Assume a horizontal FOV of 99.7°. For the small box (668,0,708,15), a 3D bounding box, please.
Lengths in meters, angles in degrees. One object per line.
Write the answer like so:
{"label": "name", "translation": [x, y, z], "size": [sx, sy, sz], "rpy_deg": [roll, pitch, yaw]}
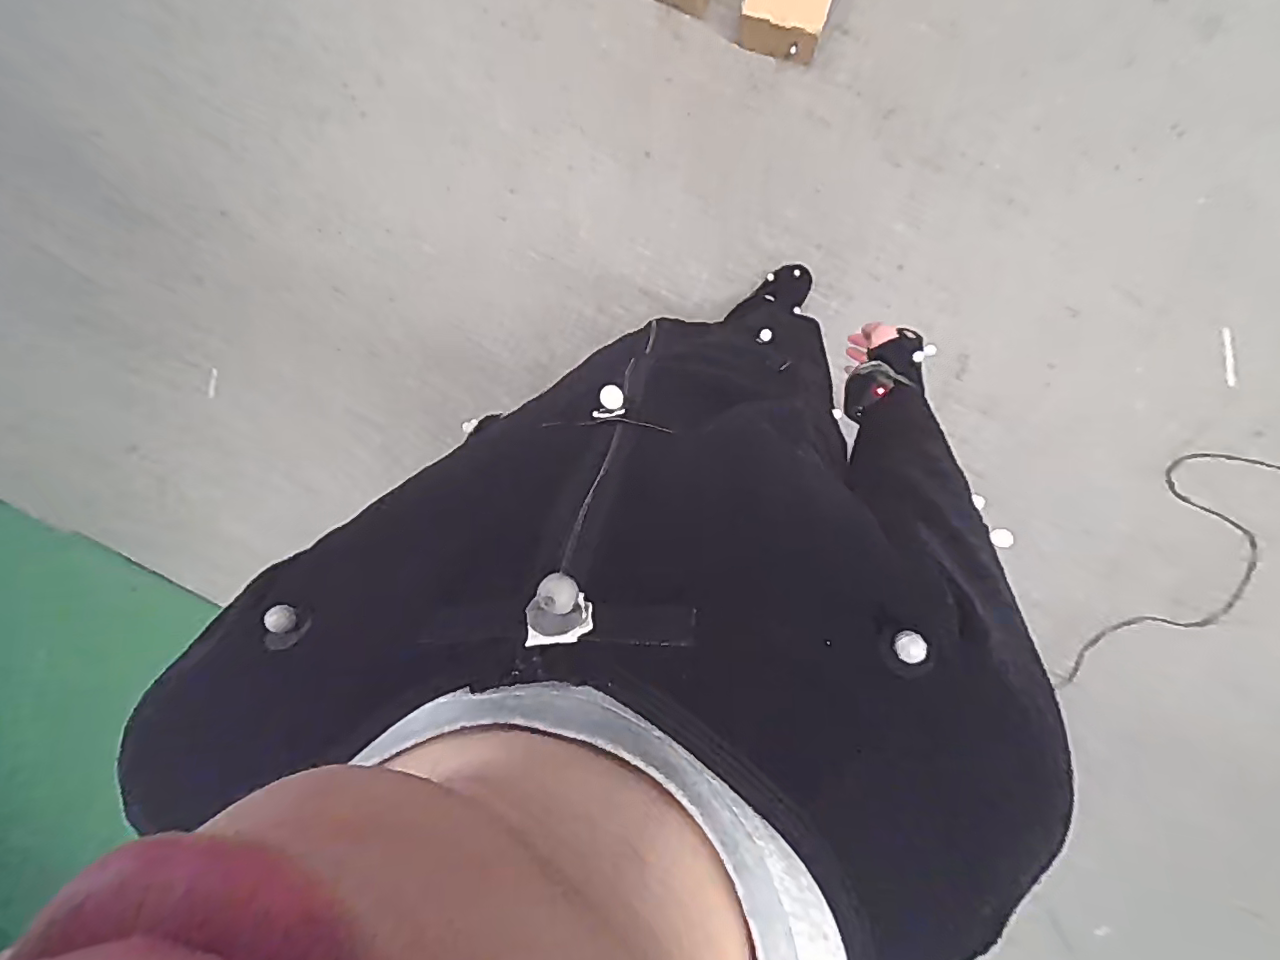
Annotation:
{"label": "small box", "translation": [0.082, -1.111, 1.106], "size": [0.168, 0.176, 0.179], "rpy_deg": [26, 112, 2]}

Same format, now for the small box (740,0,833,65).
{"label": "small box", "translation": [0.310, -0.993, 1.104], "size": [0.168, 0.176, 0.179], "rpy_deg": [18, 109, 3]}
